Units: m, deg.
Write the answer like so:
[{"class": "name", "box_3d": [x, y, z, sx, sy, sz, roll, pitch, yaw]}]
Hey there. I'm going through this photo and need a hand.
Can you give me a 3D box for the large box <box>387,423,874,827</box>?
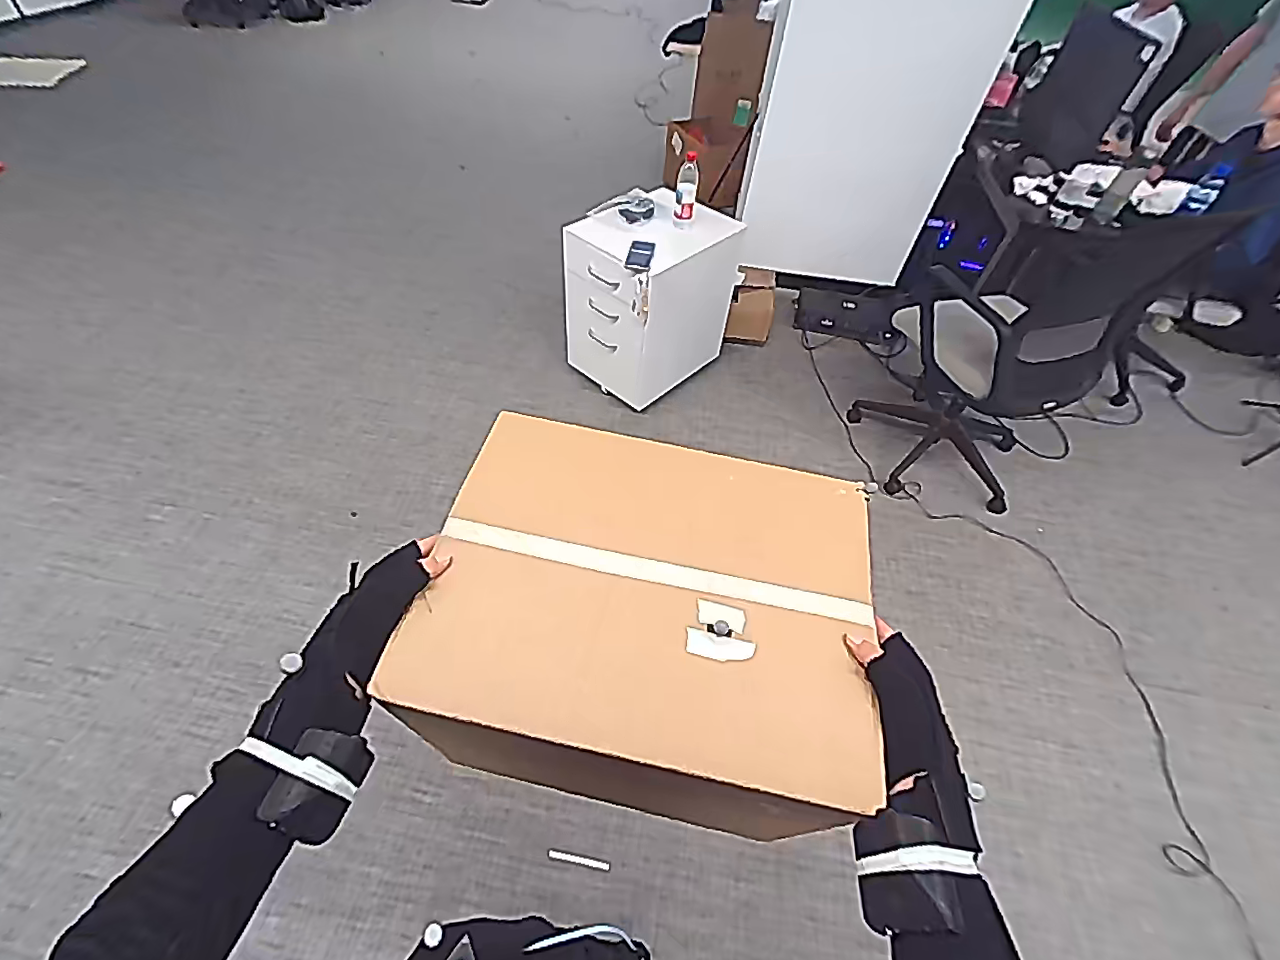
[{"class": "large box", "box_3d": [0.001, 0.178, 0.633, 0.408, 0.320, 0.320, 12, 55, 3]}]
